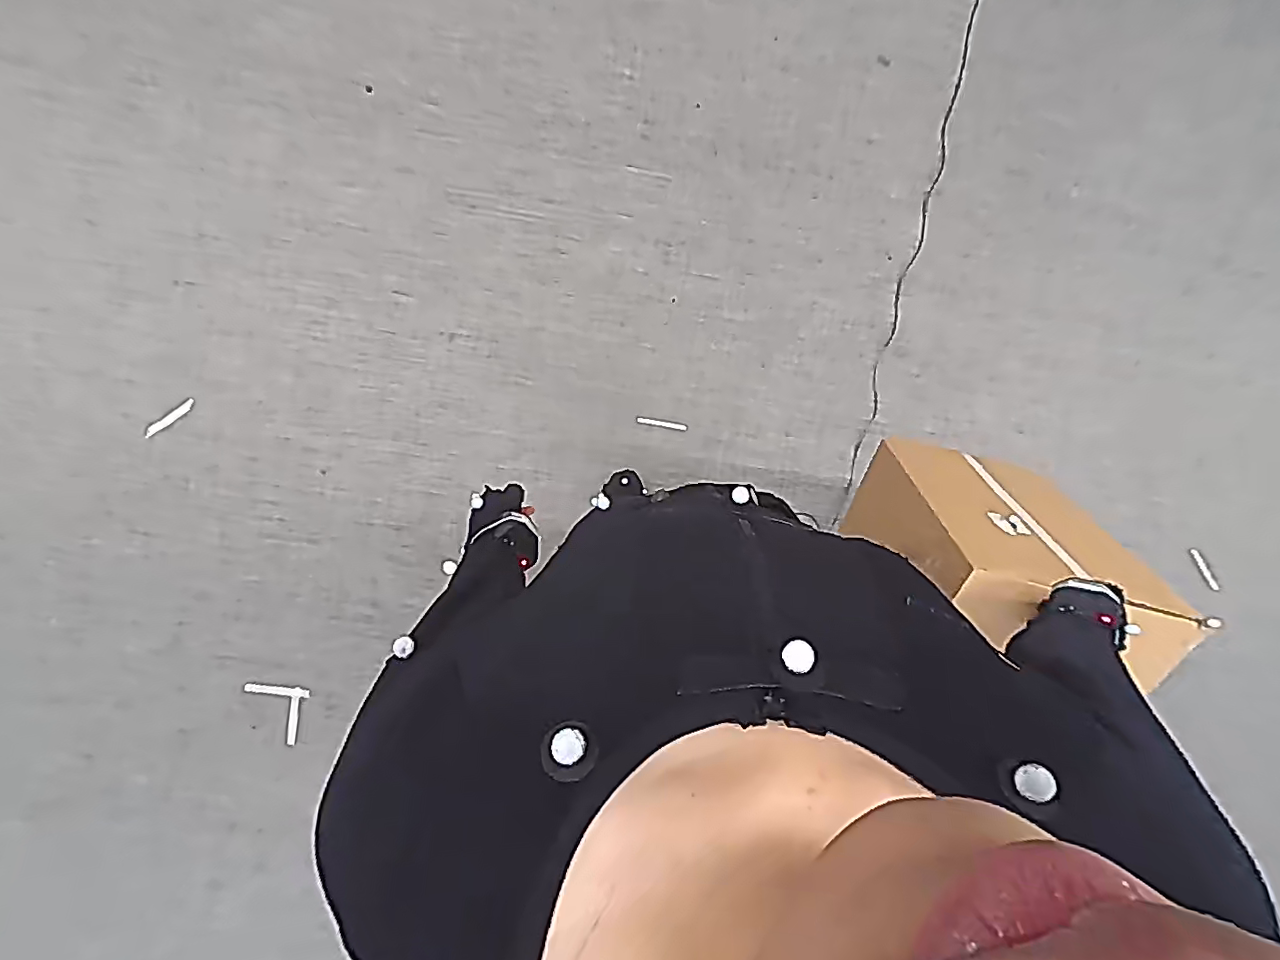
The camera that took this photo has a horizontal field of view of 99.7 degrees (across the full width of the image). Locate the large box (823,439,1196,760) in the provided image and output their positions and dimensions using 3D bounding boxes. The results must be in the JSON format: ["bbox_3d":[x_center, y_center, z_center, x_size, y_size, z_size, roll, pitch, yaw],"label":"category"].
[{"bbox_3d":[0.554,0.182,0.934,0.320,0.408,0.320,13,120,-1],"label":"large box"}]
